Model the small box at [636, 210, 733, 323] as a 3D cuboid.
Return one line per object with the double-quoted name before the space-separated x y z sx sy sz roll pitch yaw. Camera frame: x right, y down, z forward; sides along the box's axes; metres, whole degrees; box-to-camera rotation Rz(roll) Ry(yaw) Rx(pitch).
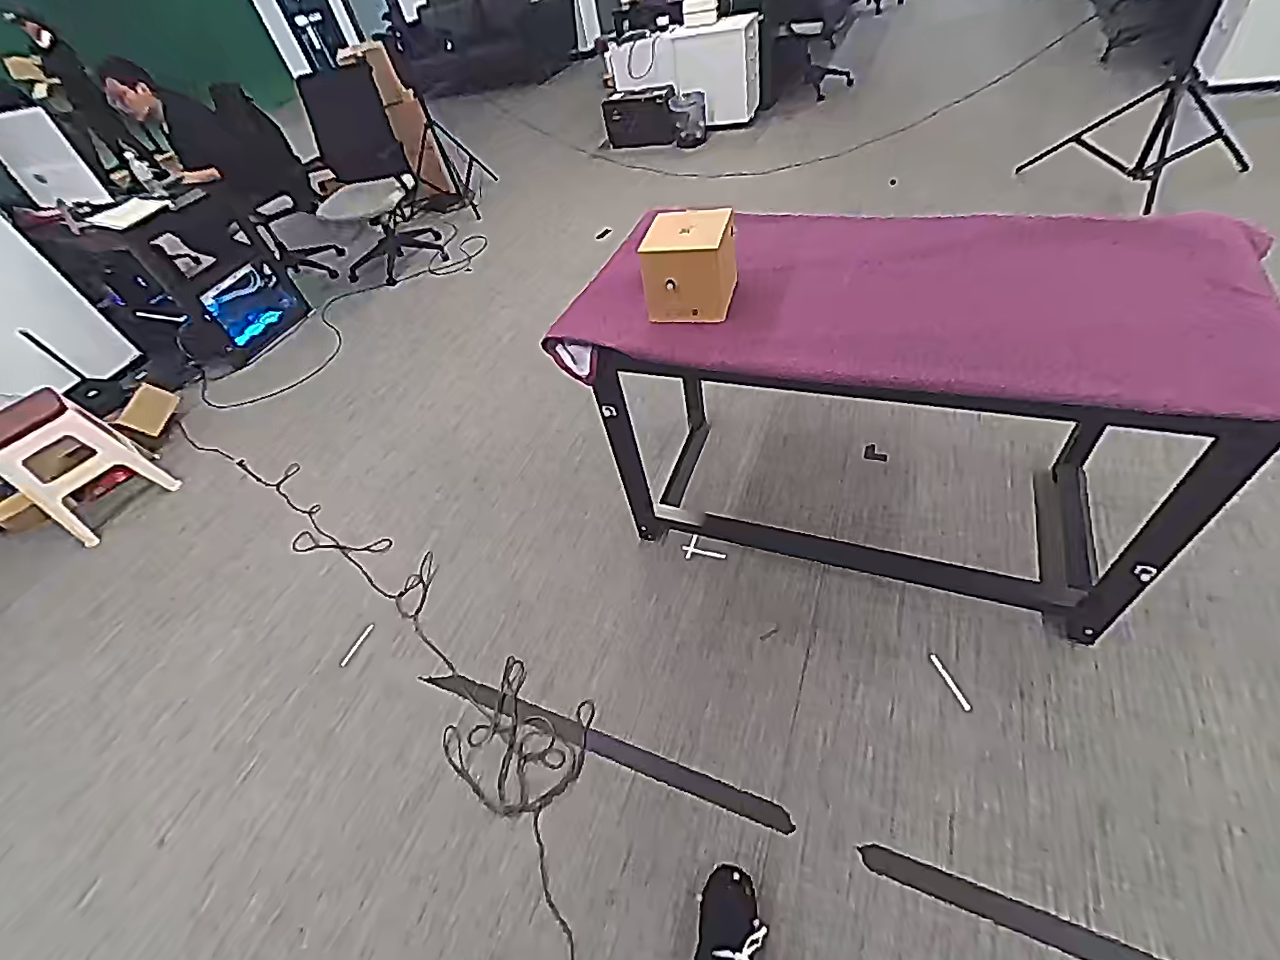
"small box" 0.106 -0.454 1.165 0.168 0.176 0.179 5 50 18
